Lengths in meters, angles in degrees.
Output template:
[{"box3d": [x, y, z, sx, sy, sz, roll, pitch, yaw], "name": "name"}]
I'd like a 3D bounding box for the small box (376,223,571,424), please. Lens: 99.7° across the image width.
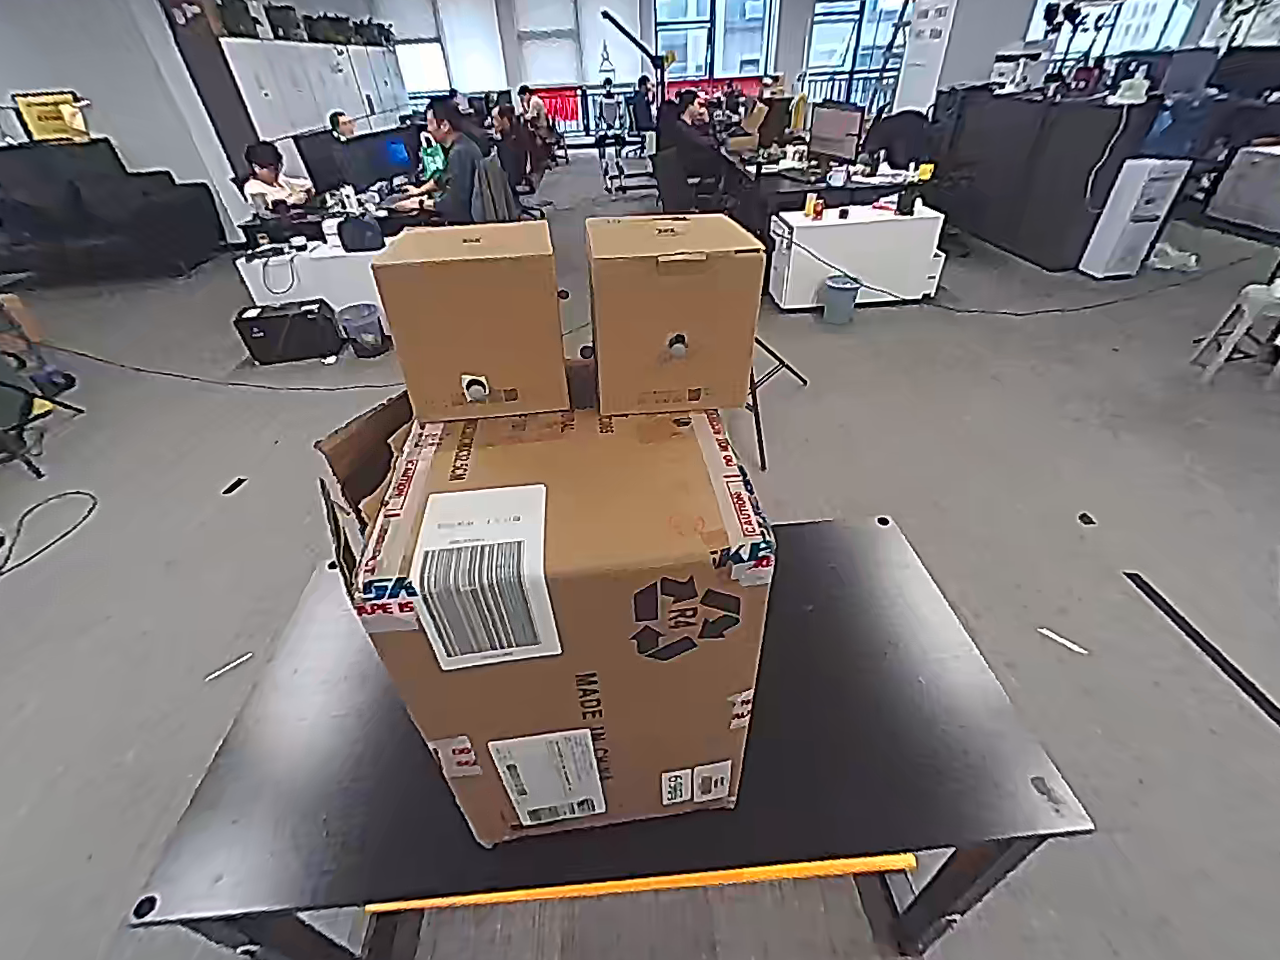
[{"box3d": [-0.174, -0.182, 0.615, 0.168, 0.176, 0.179, -8, 37, -7], "name": "small box"}]
